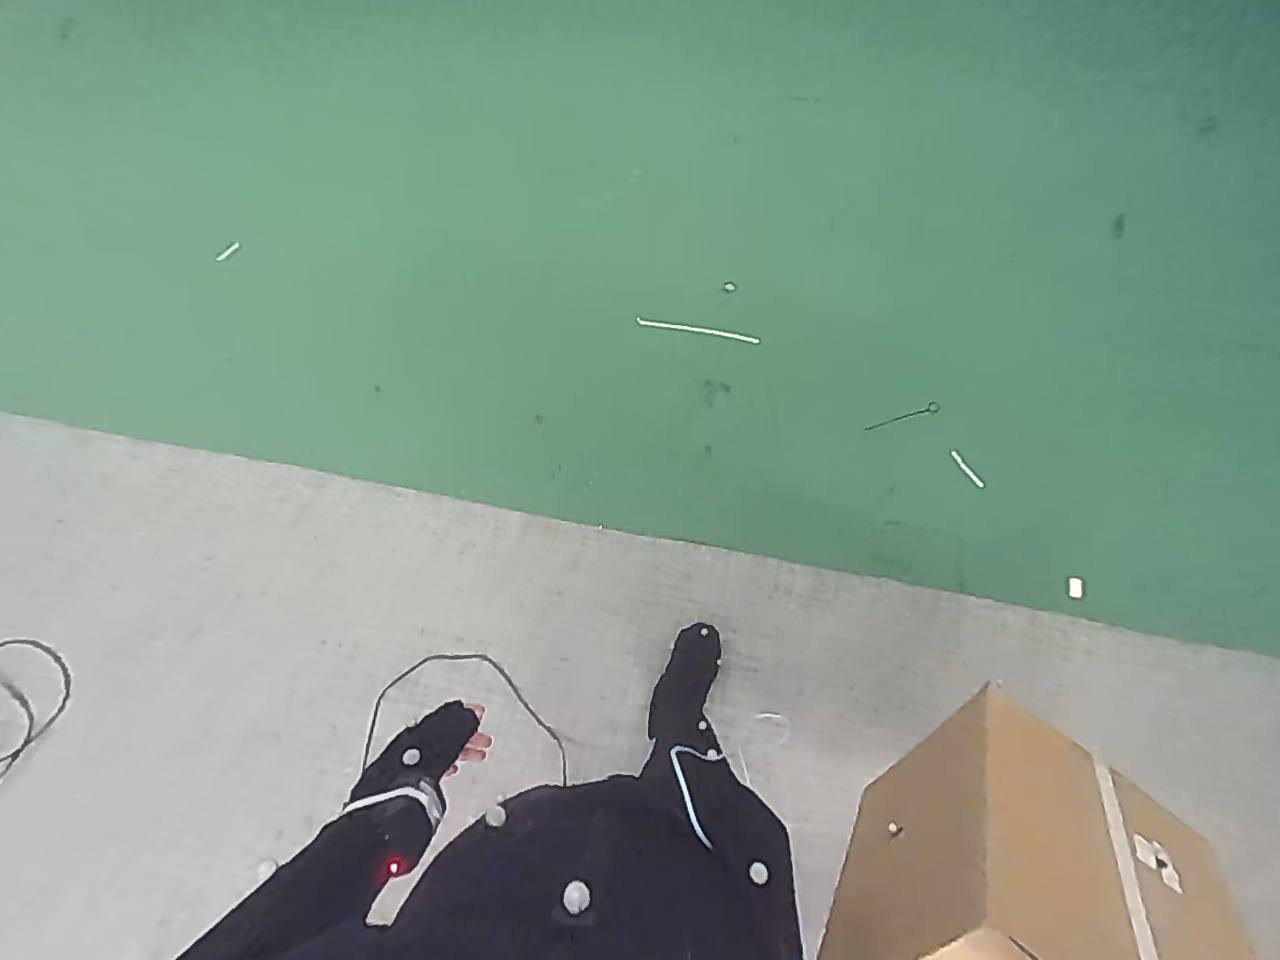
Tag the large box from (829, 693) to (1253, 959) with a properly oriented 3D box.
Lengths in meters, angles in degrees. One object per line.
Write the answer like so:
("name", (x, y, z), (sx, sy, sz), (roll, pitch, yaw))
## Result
("large box", (0.469, 0.566, 0.666), (0.320, 0.408, 0.320), (38, 120, 18))
